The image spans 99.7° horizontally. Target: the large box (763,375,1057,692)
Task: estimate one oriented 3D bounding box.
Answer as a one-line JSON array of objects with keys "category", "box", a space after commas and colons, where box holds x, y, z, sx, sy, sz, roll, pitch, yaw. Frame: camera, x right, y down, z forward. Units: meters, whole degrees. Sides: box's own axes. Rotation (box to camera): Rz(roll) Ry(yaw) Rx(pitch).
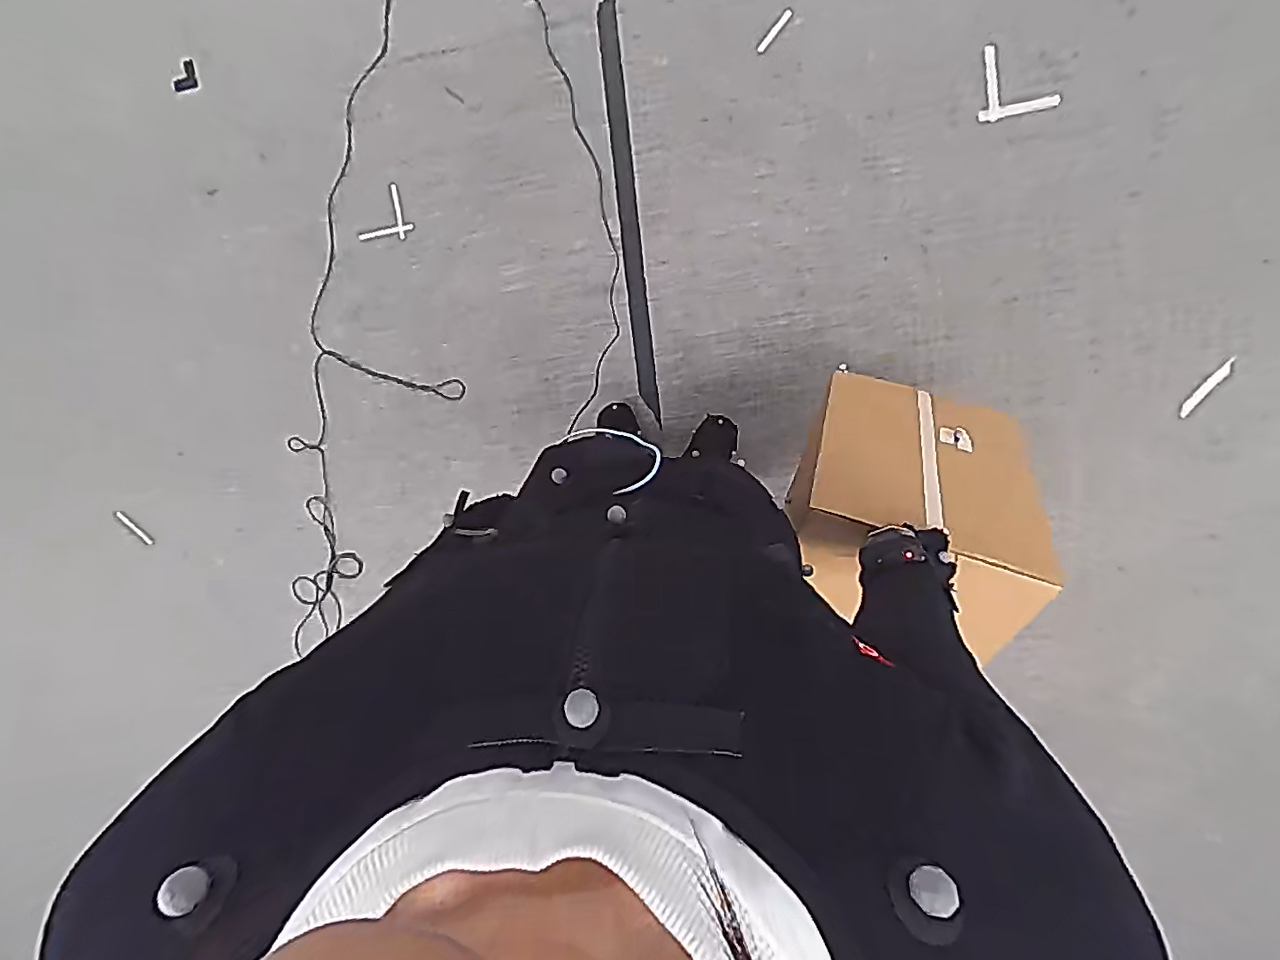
[{"category": "large box", "box": [0.422, 0.075, 0.936, 0.320, 0.408, 0.320, 18, 131, 10]}]
